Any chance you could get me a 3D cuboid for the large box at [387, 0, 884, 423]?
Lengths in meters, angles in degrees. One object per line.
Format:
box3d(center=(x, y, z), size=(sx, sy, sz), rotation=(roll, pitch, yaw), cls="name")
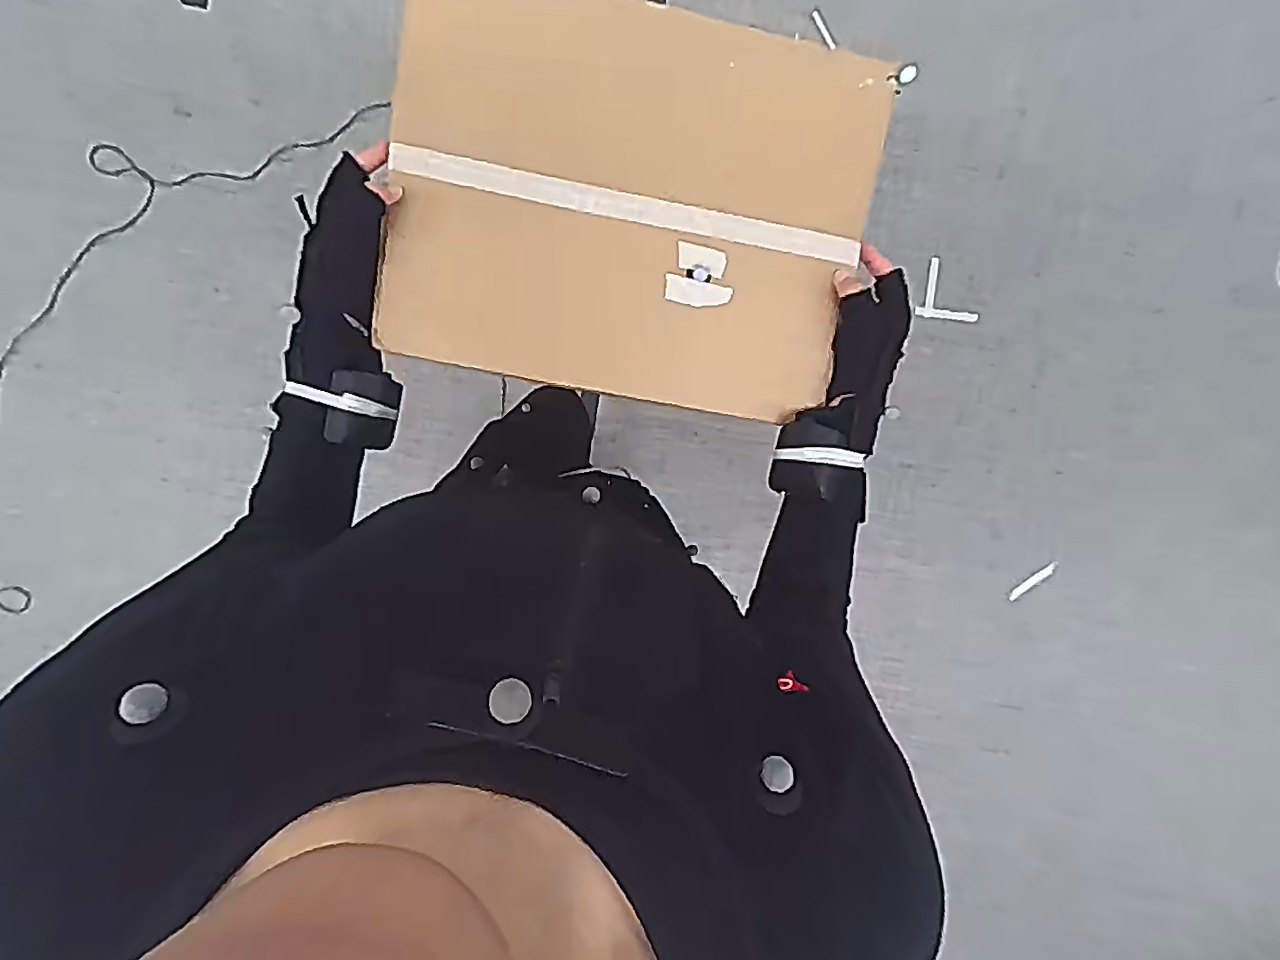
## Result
box3d(center=(-0.018, -0.256, 0.619), size=(0.408, 0.320, 0.320), rotation=(10, 99, -6), cls="large box")
